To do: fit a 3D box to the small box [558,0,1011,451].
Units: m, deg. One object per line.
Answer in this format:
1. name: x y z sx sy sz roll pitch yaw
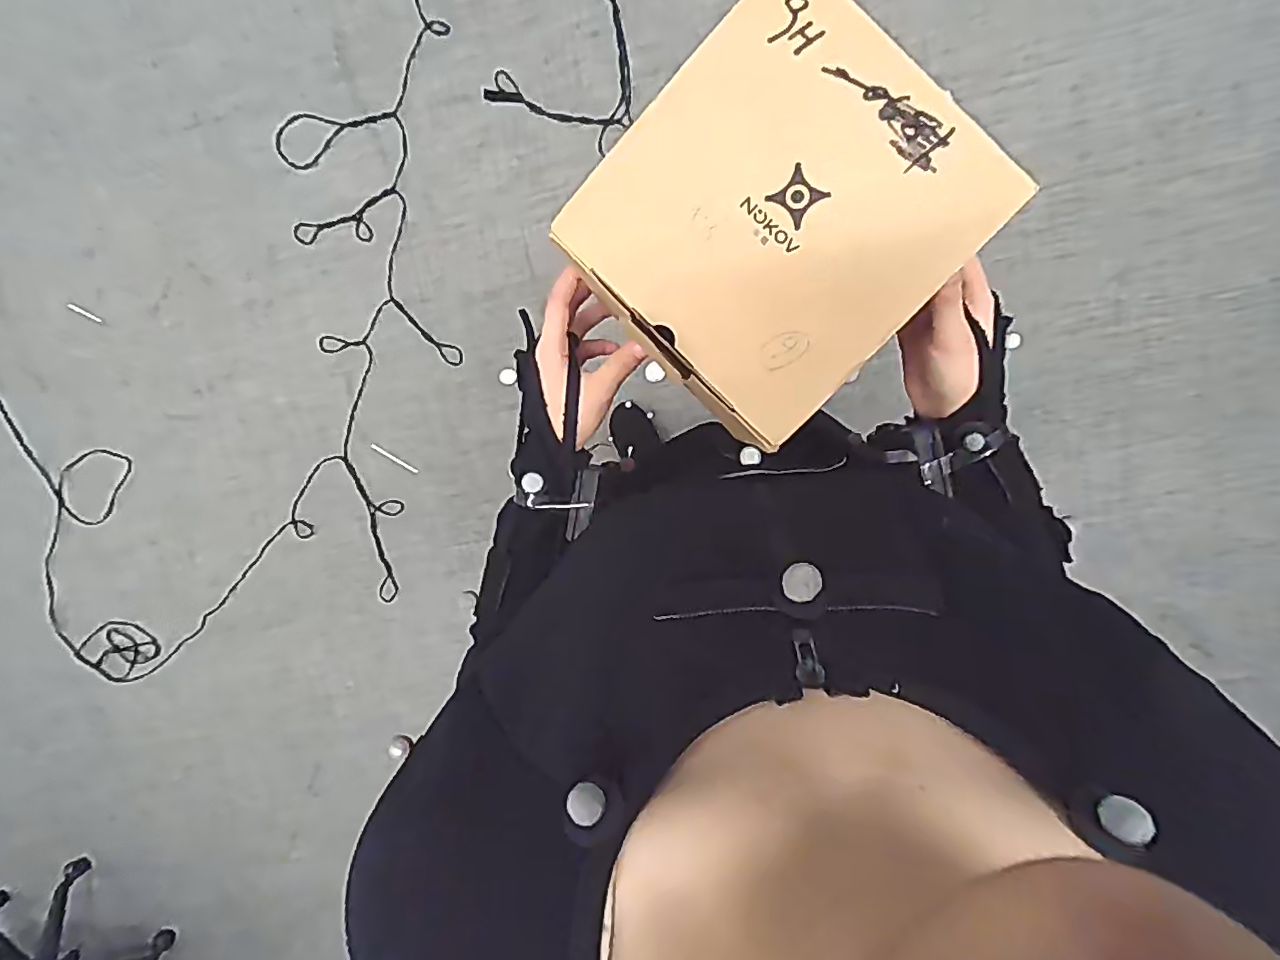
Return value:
1. small box: 0.078 -0.139 0.359 0.168 0.176 0.179 44 98 -1
